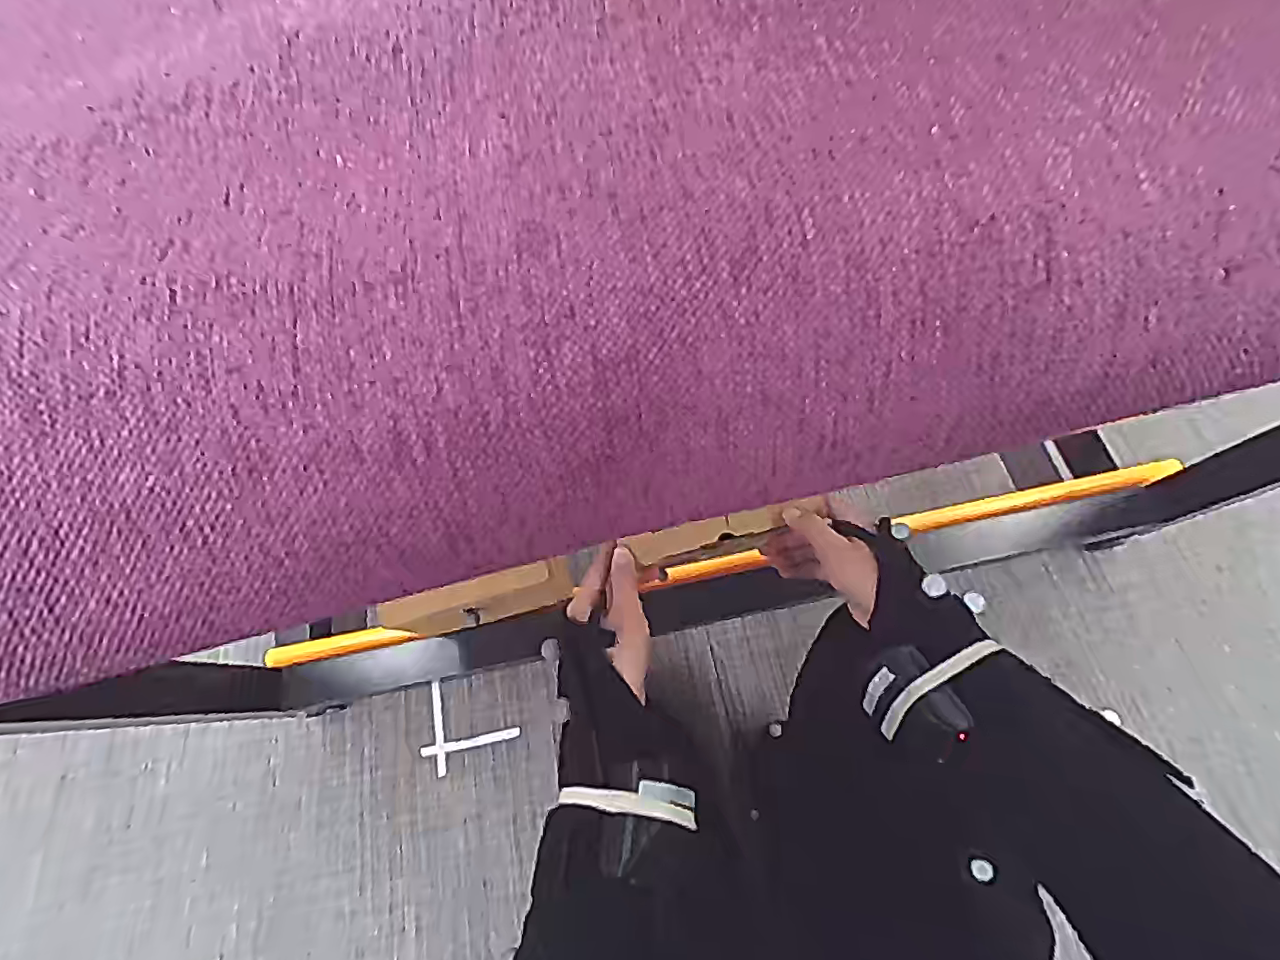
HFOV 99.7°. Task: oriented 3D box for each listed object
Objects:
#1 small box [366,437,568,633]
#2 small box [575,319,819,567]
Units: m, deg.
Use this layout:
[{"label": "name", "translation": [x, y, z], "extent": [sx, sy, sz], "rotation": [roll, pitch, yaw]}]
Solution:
[{"label": "small box", "translation": [-0.189, 0.073, 0.635], "extent": [0.179, 0.176, 0.168], "rotation": [-16, 70, -3]}, {"label": "small box", "translation": [0.044, -0.019, 0.513], "extent": [0.168, 0.176, 0.179], "rotation": [-14, 76, -3]}]
